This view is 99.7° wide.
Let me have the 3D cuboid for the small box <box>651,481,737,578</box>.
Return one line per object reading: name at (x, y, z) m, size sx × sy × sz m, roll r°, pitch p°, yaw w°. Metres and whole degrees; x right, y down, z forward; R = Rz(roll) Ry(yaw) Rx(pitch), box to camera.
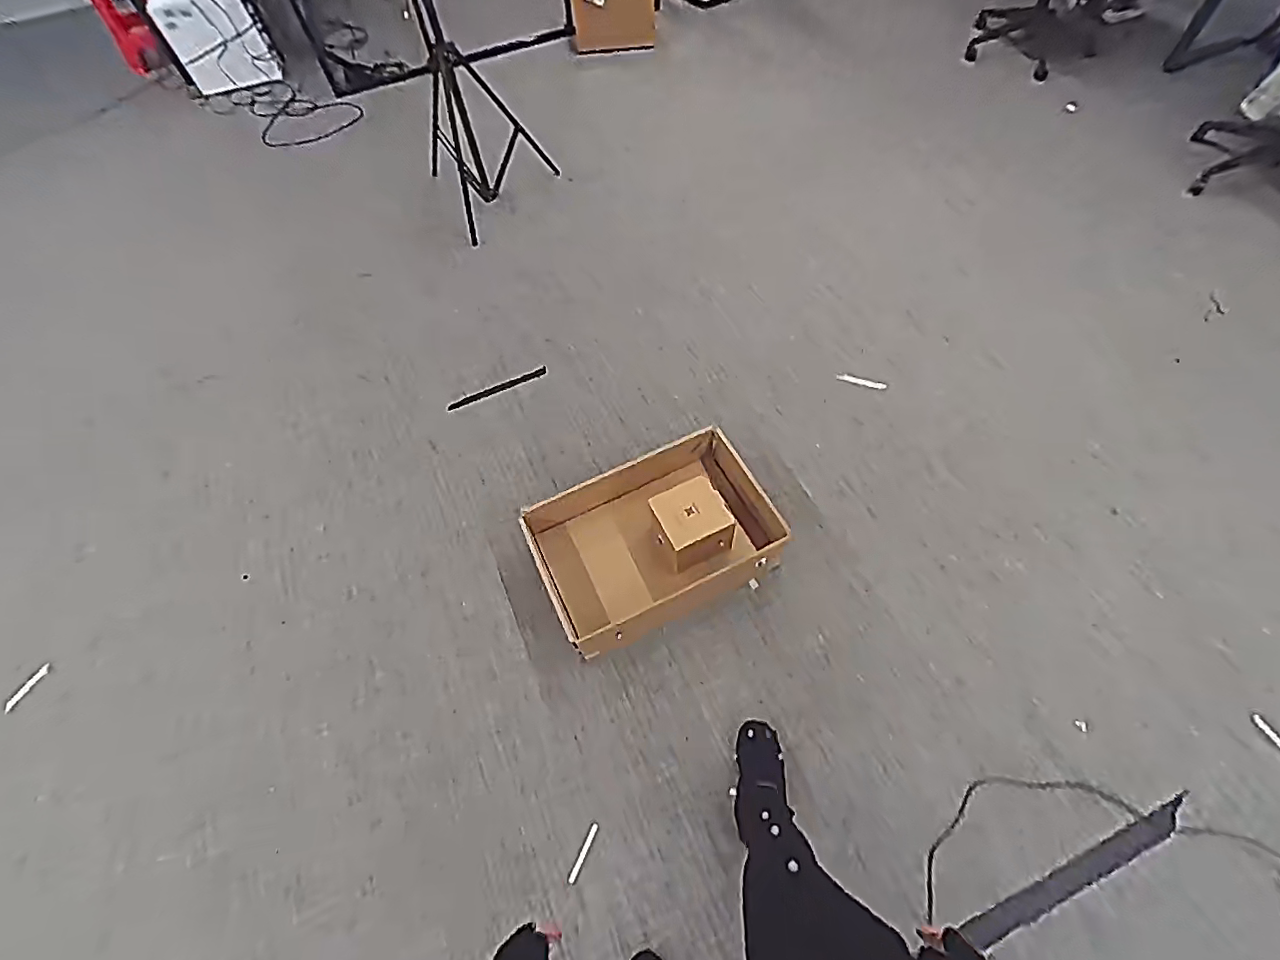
small box at (0.143, 0.137, 1.464) m, size 0.179 × 0.176 × 0.168 m, roll -25°, pitch 60°, yaw -9°
